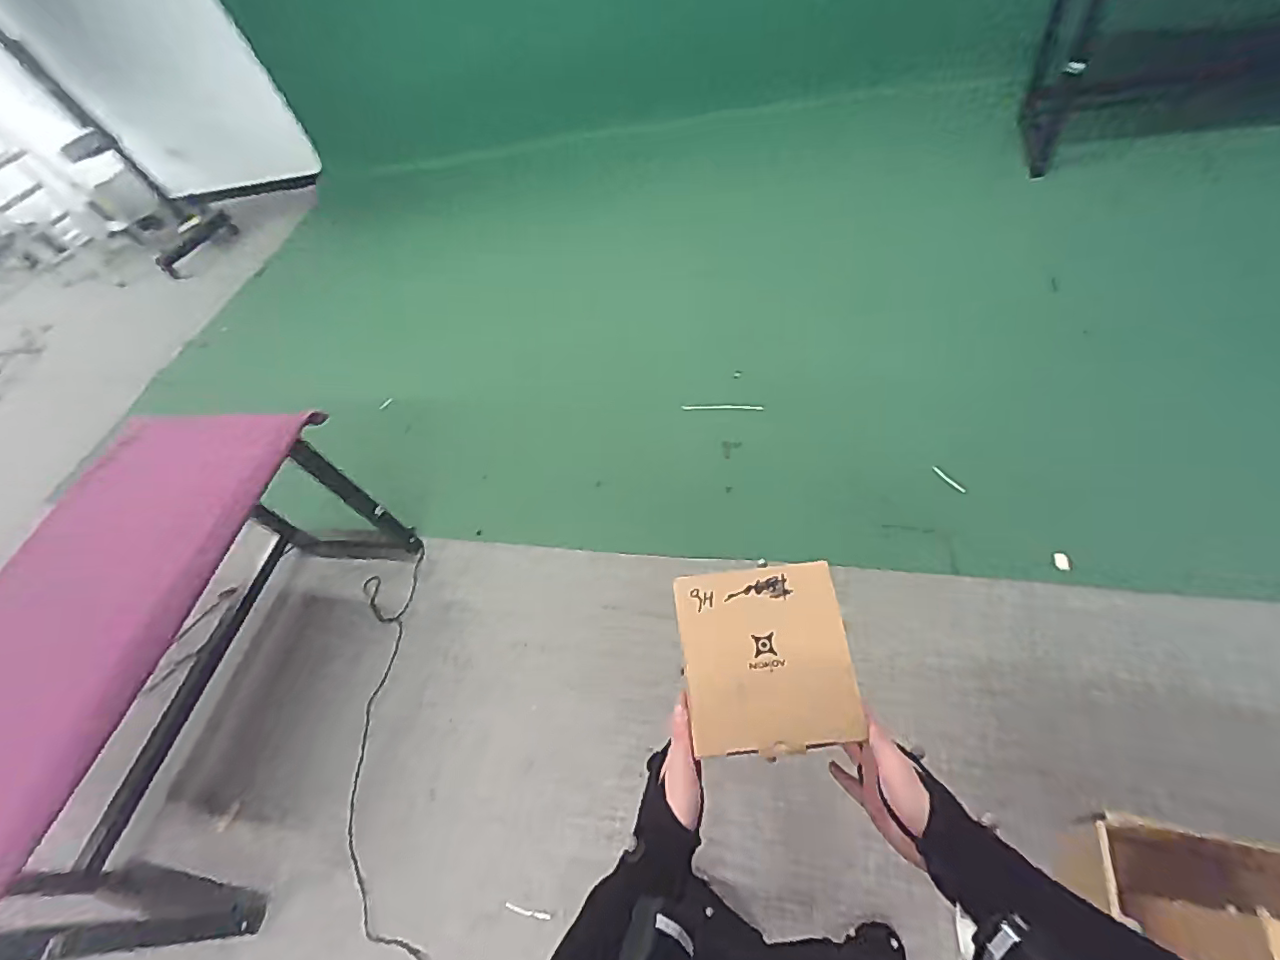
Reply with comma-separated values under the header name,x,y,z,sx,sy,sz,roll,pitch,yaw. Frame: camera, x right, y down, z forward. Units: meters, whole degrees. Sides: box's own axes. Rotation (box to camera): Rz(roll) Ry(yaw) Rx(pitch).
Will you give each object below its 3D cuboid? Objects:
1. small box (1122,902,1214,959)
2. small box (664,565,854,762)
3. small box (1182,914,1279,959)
name,x,y,z,sx,sy,sz,roll,pitch,yaw
small box,0.778,0.679,0.706,0.179,0.176,0.168,6,58,18
small box,0.121,0.207,0.615,0.168,0.176,0.179,-7,68,2
small box,0.733,0.593,0.574,0.179,0.176,0.168,8,59,19
